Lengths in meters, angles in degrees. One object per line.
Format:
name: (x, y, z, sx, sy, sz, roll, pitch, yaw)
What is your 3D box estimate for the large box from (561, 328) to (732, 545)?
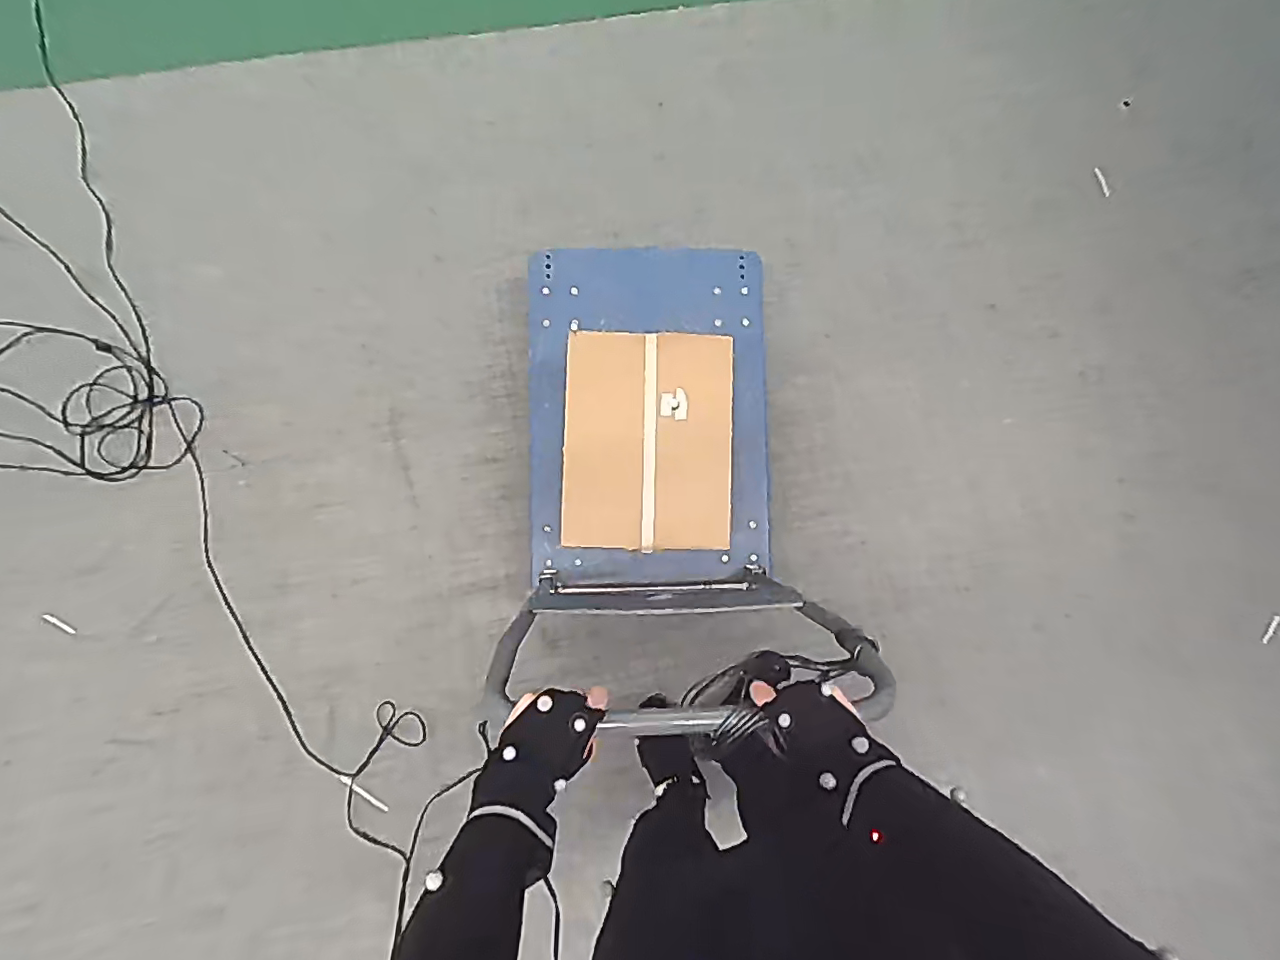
large box: (0.009, -0.069, 1.139, 0.320, 0.320, 0.408, 1, 85, -3)
